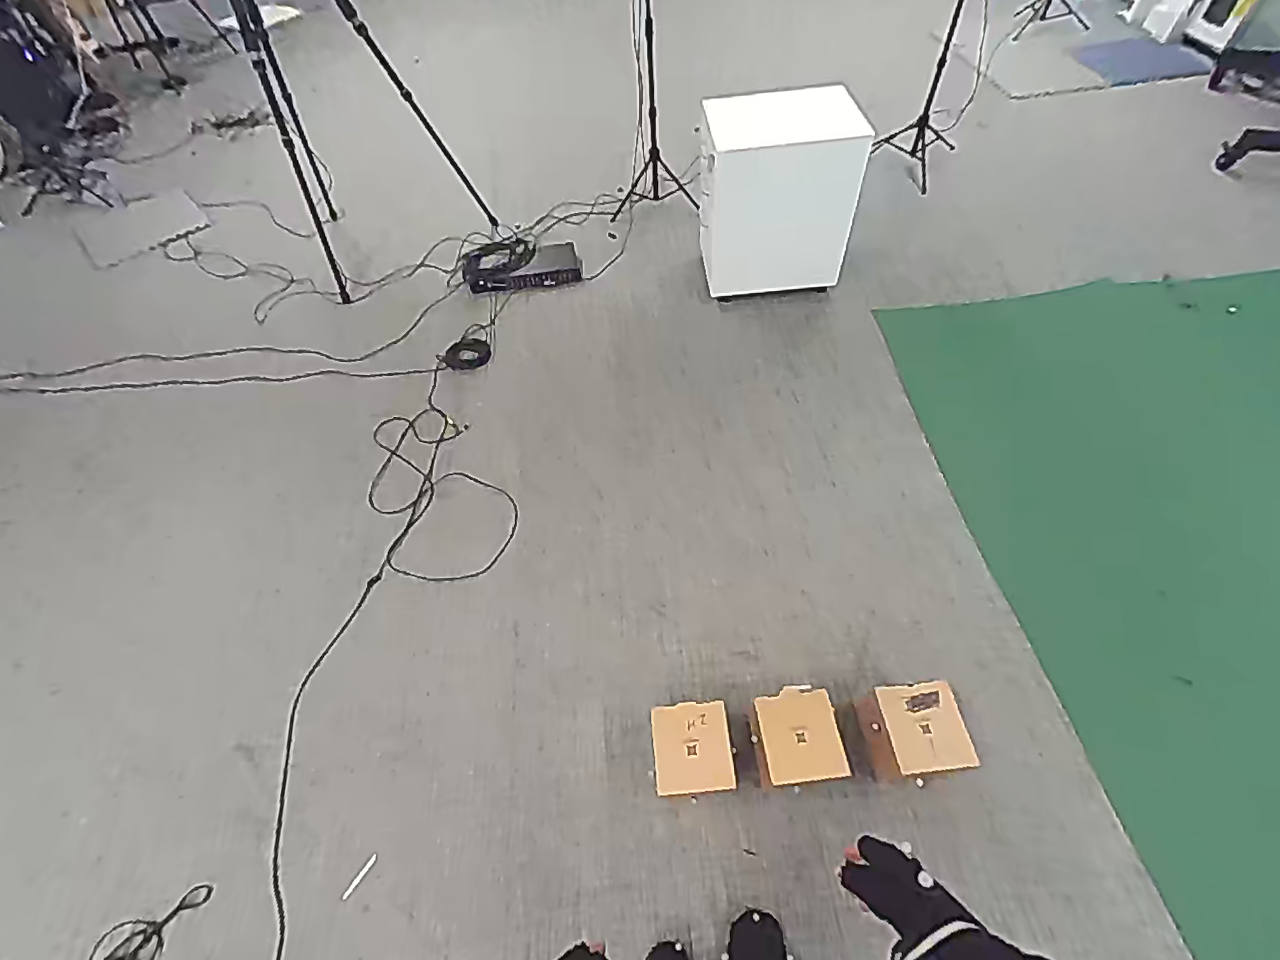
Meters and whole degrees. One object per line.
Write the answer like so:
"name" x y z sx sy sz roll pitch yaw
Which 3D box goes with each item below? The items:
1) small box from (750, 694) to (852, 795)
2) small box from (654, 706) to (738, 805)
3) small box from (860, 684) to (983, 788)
"small box" 0.352 0.599 1.215 0.168 0.176 0.179 -7 54 -1
"small box" 0.122 0.623 1.215 0.168 0.176 0.179 -5 55 0
"small box" 0.615 0.574 1.211 0.168 0.176 0.179 -7 55 0
